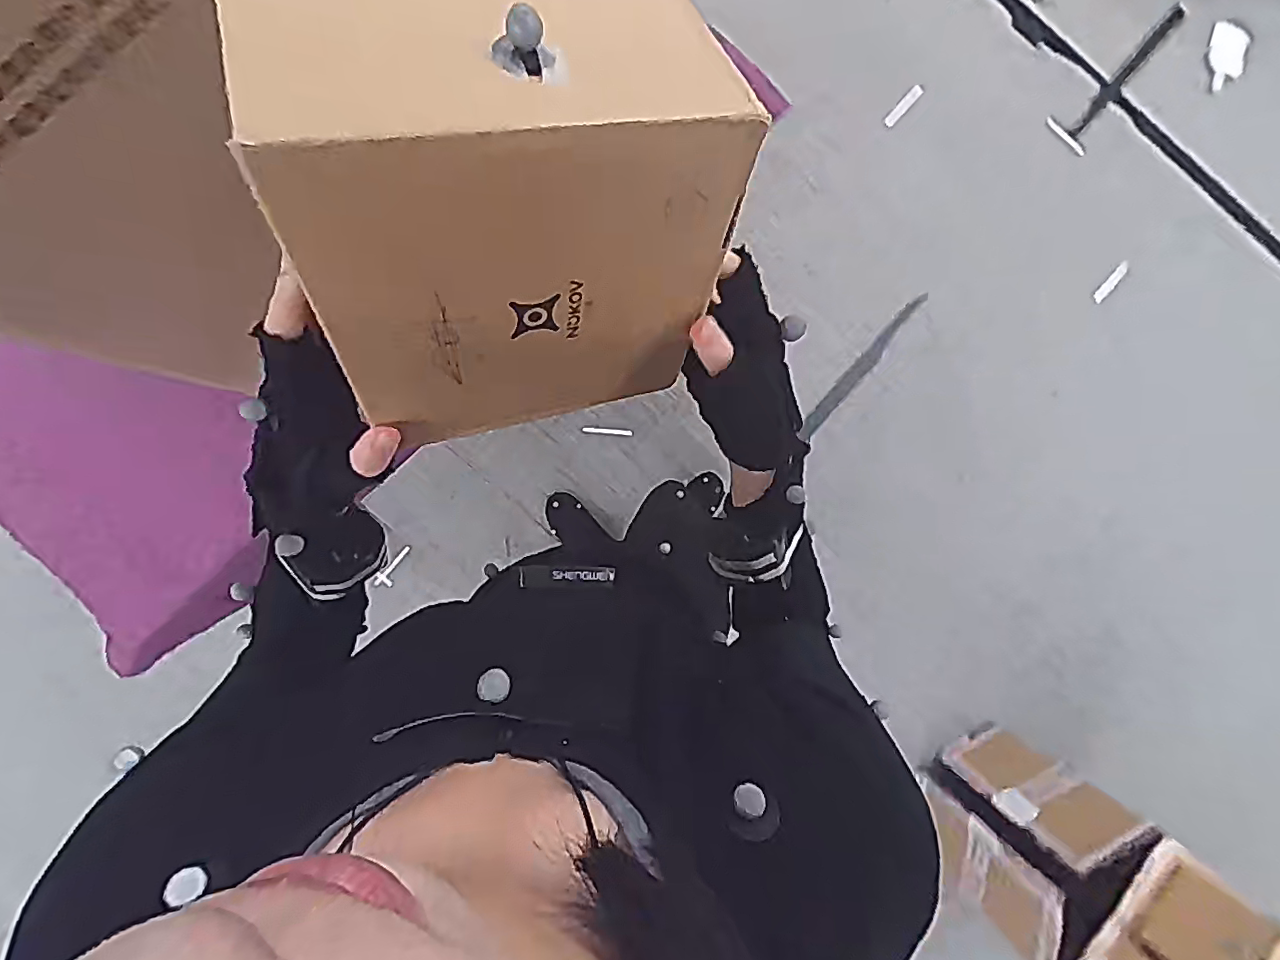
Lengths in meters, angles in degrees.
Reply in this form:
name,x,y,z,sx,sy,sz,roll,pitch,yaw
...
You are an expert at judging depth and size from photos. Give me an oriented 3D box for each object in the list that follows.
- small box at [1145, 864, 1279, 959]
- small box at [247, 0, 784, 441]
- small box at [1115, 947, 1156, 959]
name,x,y,z,sx,sy,sz,roll,pitch,yaw
small box,1.117,0.877,1.010,0.168,0.176,0.179,35,87,-4
small box,-0.067,-0.147,0.270,0.179,0.168,0.176,-14,65,-17
small box,1.000,1.037,1.004,0.179,0.176,0.168,38,90,-4
